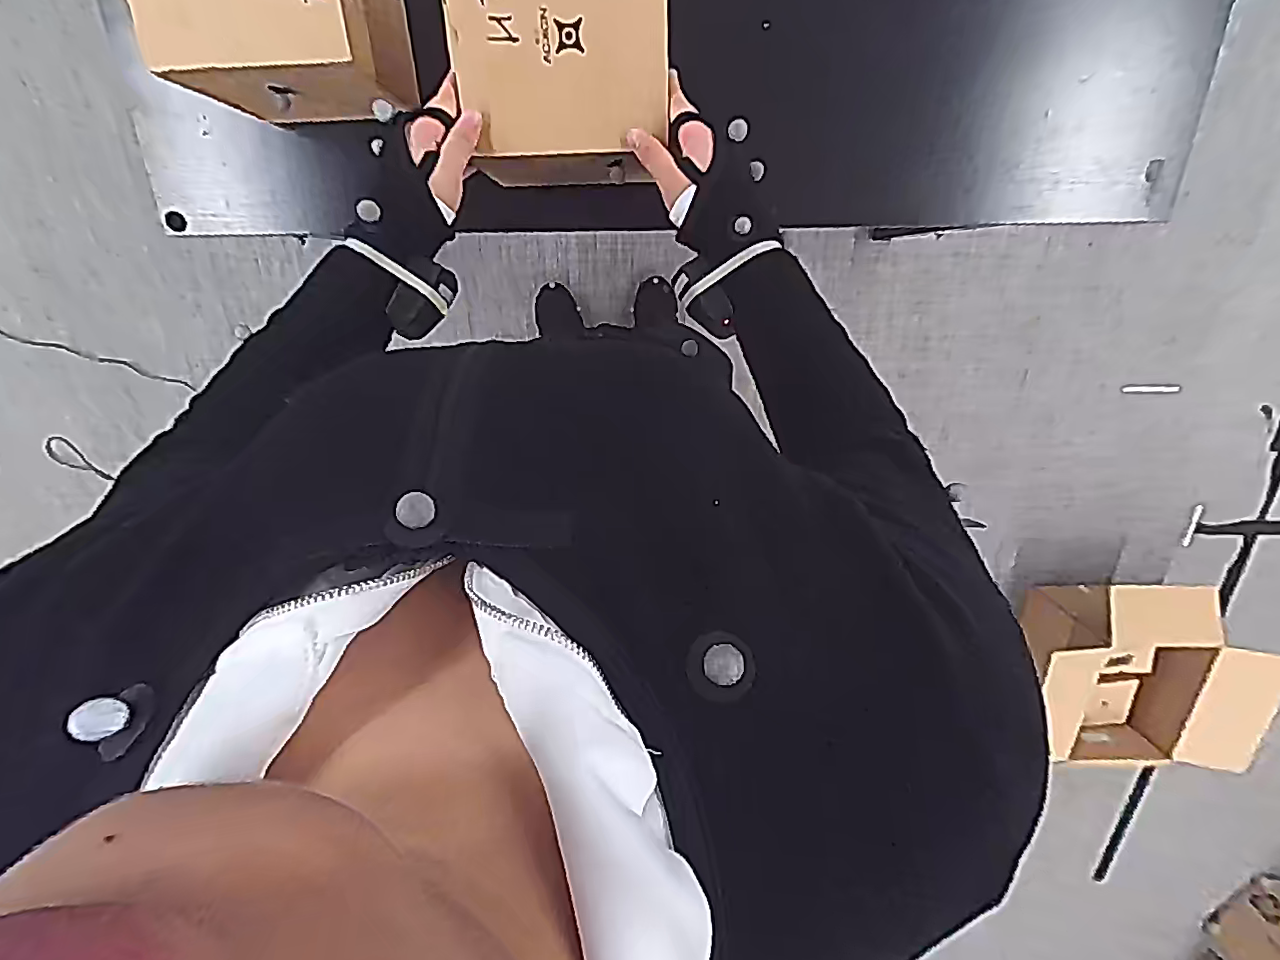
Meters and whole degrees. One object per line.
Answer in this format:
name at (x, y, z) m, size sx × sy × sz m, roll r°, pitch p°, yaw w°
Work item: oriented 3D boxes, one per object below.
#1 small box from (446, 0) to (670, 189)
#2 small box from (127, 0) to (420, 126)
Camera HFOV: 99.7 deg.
small box at (-0.066, -0.377, 0.504) m, size 0.179 × 0.176 × 0.168 m, roll -2°, pitch 111°, yaw -1°
small box at (-0.335, -0.450, 0.506) m, size 0.179 × 0.176 × 0.168 m, roll -3°, pitch 111°, yaw 0°
